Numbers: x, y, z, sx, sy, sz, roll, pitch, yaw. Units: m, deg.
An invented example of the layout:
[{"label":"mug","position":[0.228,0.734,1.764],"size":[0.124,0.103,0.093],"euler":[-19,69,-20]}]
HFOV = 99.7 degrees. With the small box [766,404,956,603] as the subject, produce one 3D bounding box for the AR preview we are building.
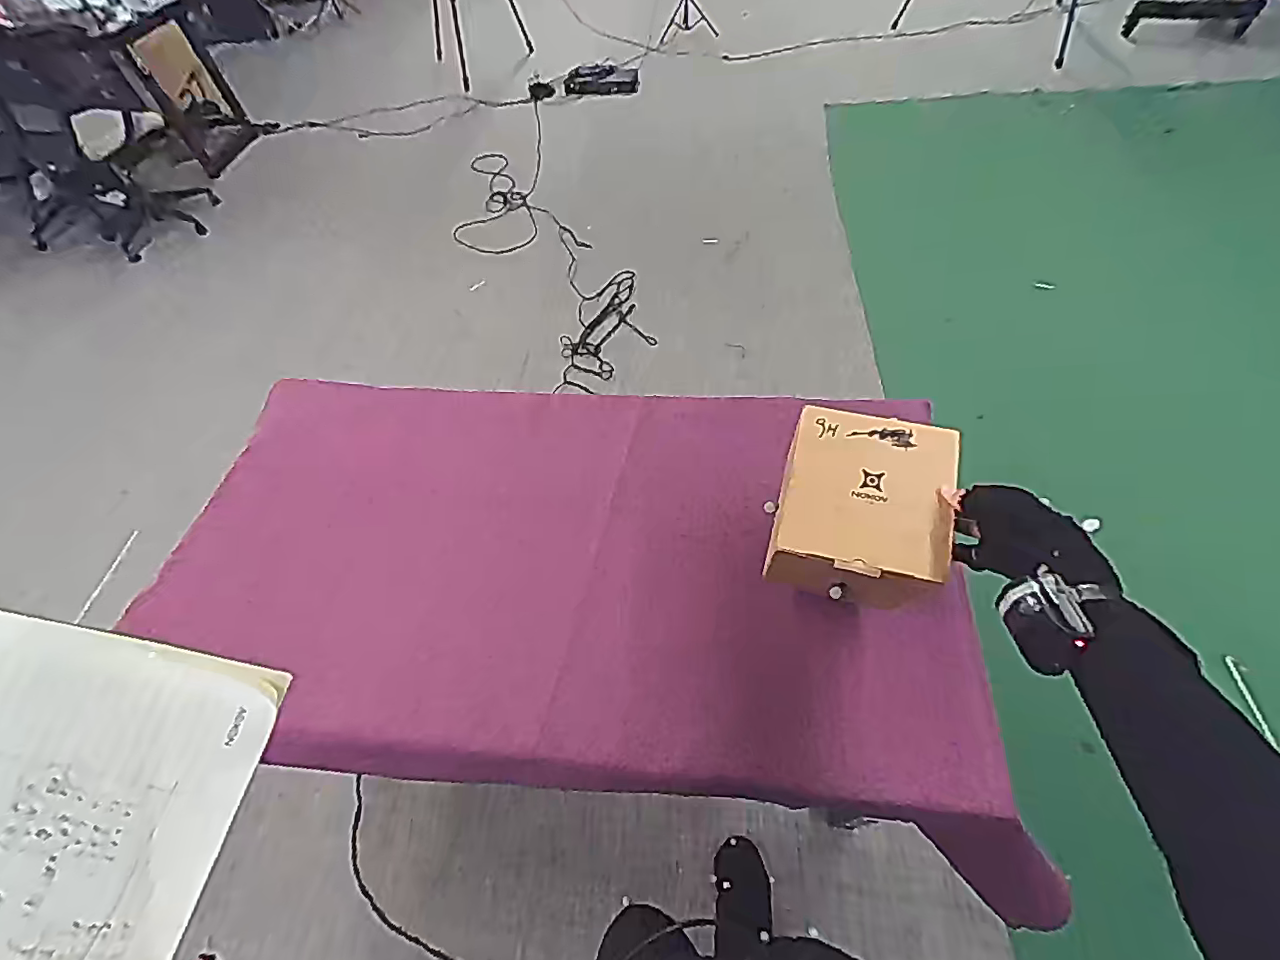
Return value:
[{"label":"small box","position":[0.249,0.036,0.645],"size":[0.168,0.176,0.179],"euler":[12,71,12]}]
